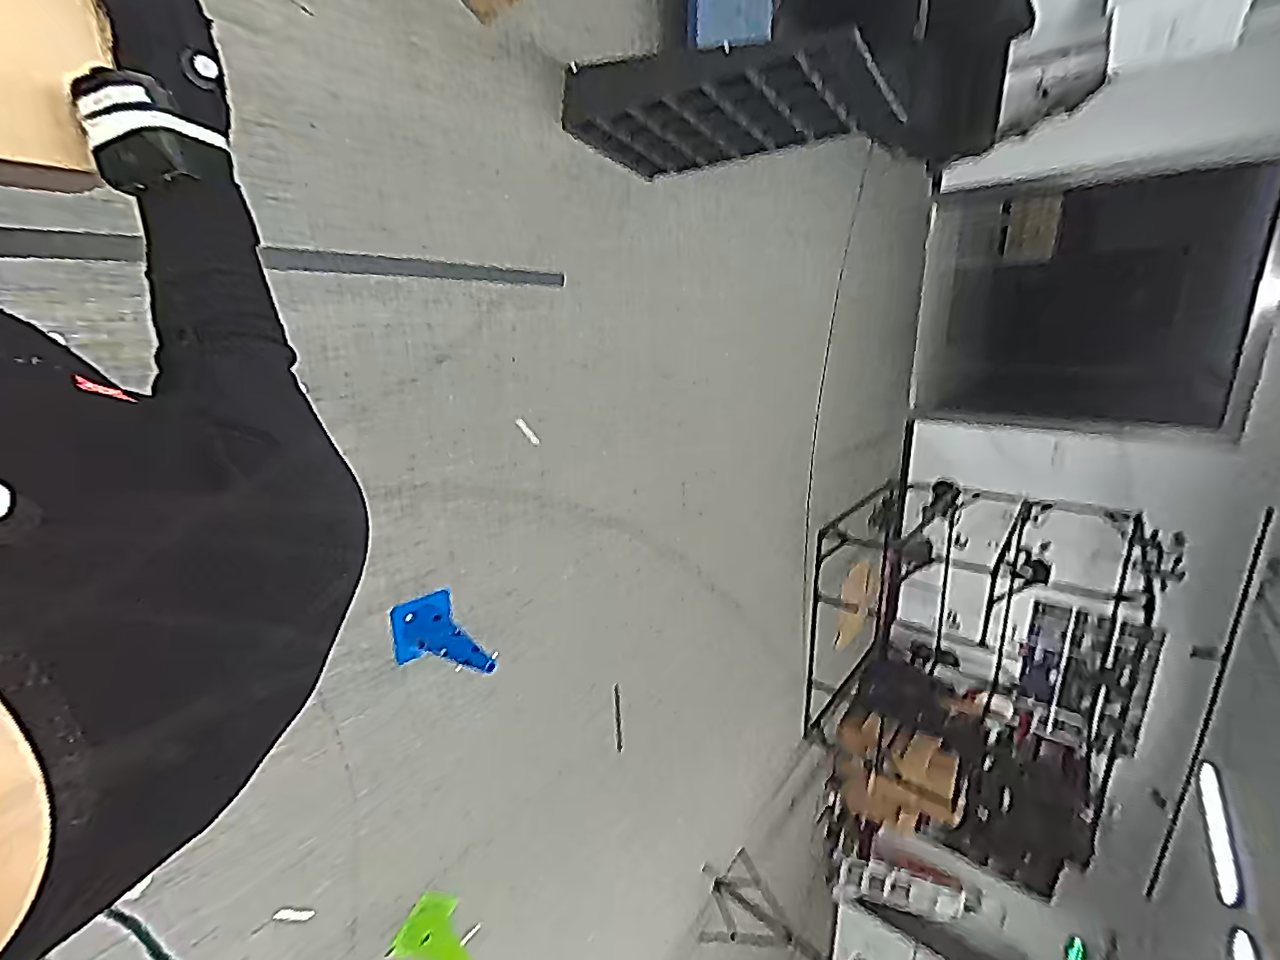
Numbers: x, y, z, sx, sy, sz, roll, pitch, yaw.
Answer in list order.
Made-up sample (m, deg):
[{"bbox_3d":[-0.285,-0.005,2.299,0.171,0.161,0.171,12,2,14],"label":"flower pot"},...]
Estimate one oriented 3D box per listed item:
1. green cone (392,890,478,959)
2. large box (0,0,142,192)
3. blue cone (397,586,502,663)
[{"bbox_3d":[-0.616,1.592,1.808,0.202,0.368,0.200,-59,139,-26],"label":"green cone"},{"bbox_3d":[-0.609,-0.371,0.302,0.408,0.320,0.320,-18,120,-48],"label":"large box"},{"bbox_3d":[-0.556,0.475,1.631,0.192,0.380,0.193,-15,111,-50],"label":"blue cone"}]
